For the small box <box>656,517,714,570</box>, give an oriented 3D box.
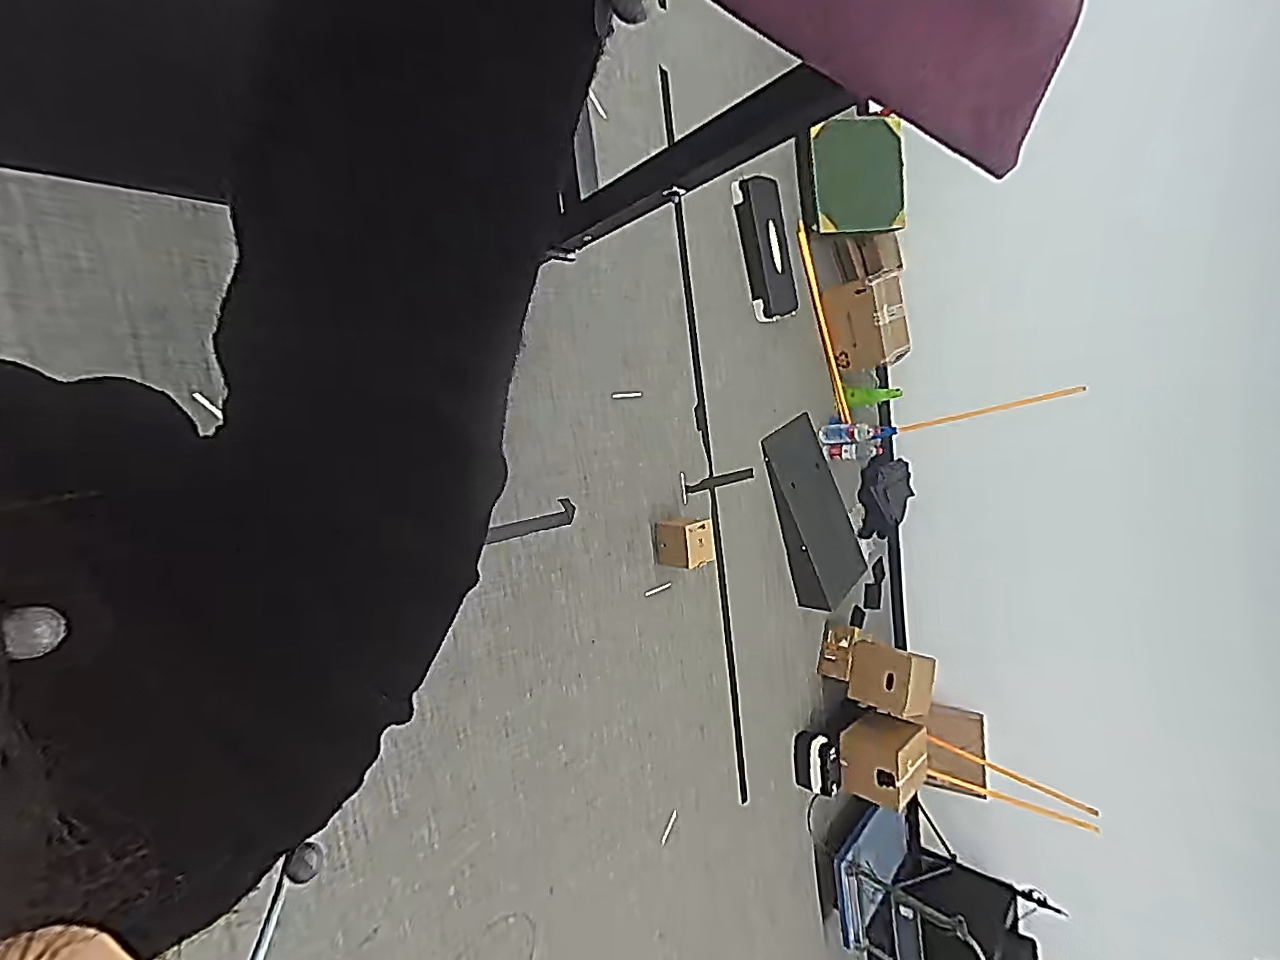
[{"bbox_3d":[0.183,0.255,2.206,0.168,0.176,0.179,-11,99,-43],"label":"small box"}]
